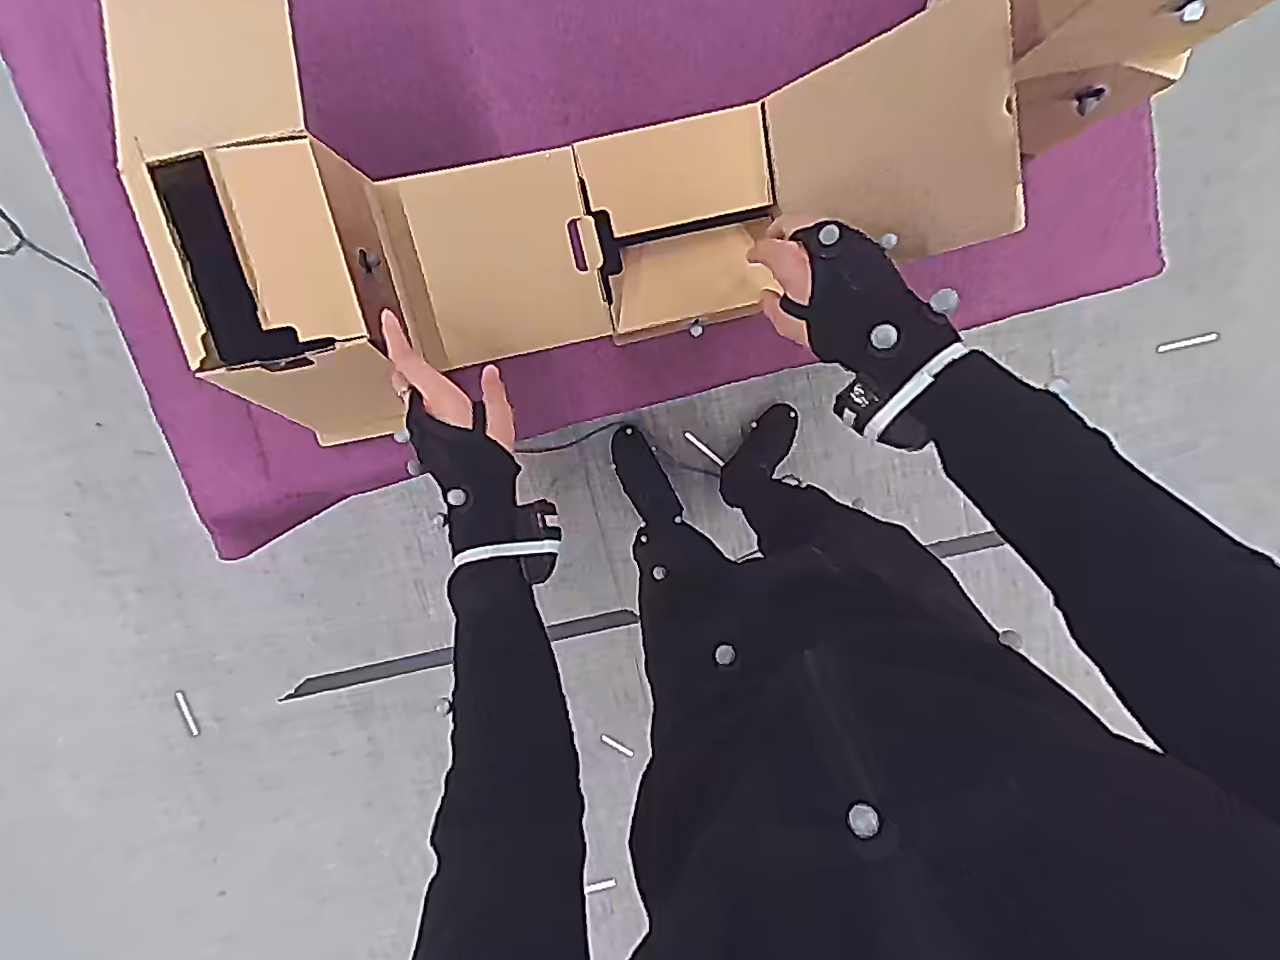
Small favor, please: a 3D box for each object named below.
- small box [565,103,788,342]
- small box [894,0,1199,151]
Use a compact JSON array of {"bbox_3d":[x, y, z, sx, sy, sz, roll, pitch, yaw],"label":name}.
[{"bbox_3d":[0.034,-0.242,0.556,0.179,0.176,0.168,-12,102,1],"label":"small box"},{"bbox_3d":[0.386,-0.448,0.522,0.179,0.176,0.168,12,101,-3],"label":"small box"}]
